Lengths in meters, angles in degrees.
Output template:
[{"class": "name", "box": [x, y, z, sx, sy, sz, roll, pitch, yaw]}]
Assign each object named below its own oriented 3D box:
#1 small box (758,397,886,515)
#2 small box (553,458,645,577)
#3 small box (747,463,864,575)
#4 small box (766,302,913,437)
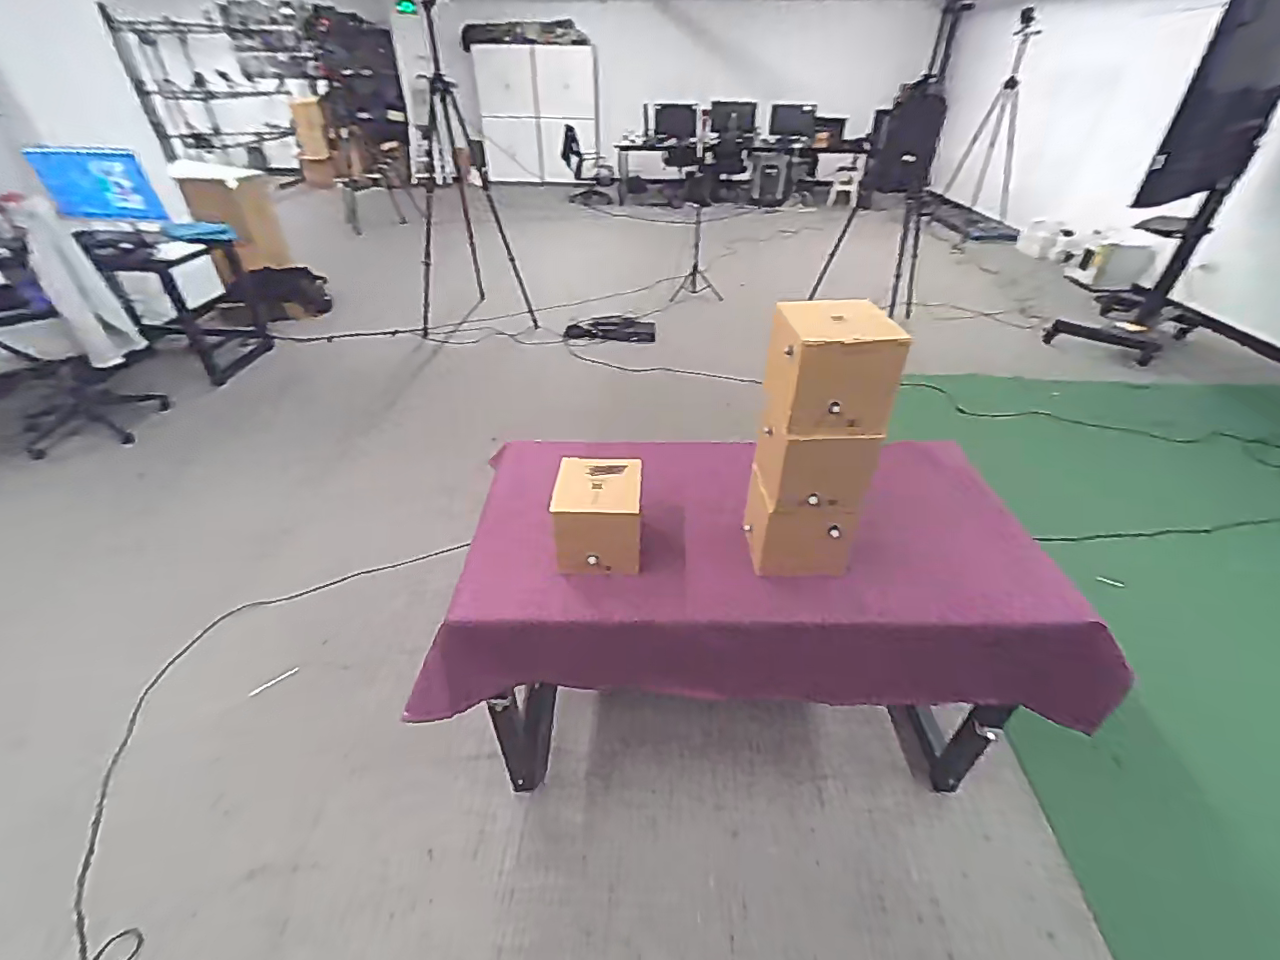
[{"class": "small box", "box": [0.322, -0.053, 0.999, 0.168, 0.176, 0.179, -1, 37, 0]}, {"class": "small box", "box": [-0.076, 0.074, 1.101, 0.168, 0.176, 0.179, 1, 38, 1]}, {"class": "small box", "box": [0.323, 0.079, 1.094, 0.179, 0.176, 0.168, 0, 36, 0]}, {"class": "small box", "box": [0.318, -0.187, 0.906, 0.168, 0.176, 0.179, -2, 38, -2]}]
